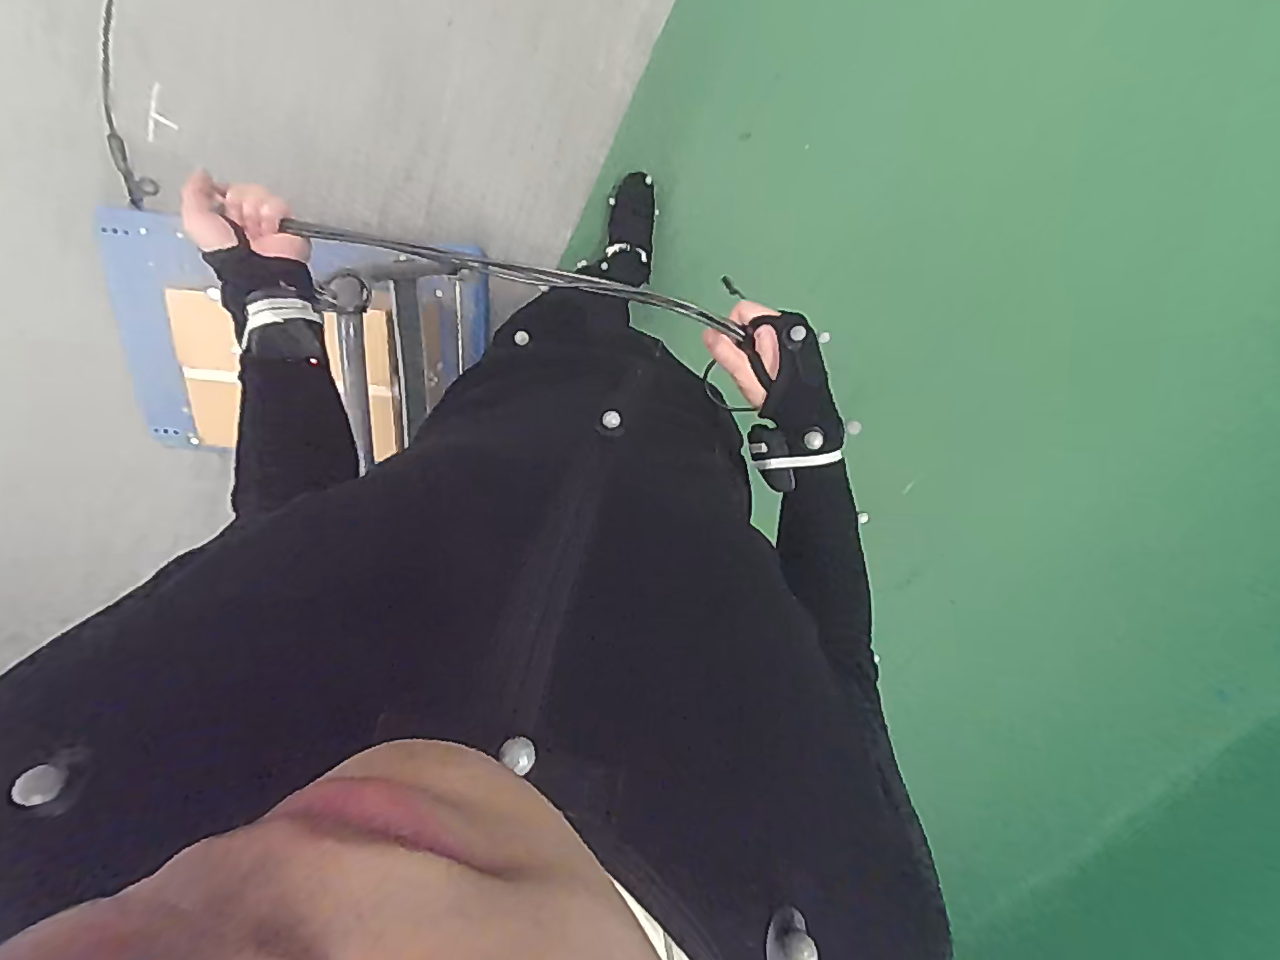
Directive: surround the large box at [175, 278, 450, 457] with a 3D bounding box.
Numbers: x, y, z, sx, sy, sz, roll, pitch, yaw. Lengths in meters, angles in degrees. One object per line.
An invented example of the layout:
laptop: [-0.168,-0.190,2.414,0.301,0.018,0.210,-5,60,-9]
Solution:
large box: [-0.674,-0.262,1.199,0.408,0.320,0.320,5,113,-2]
